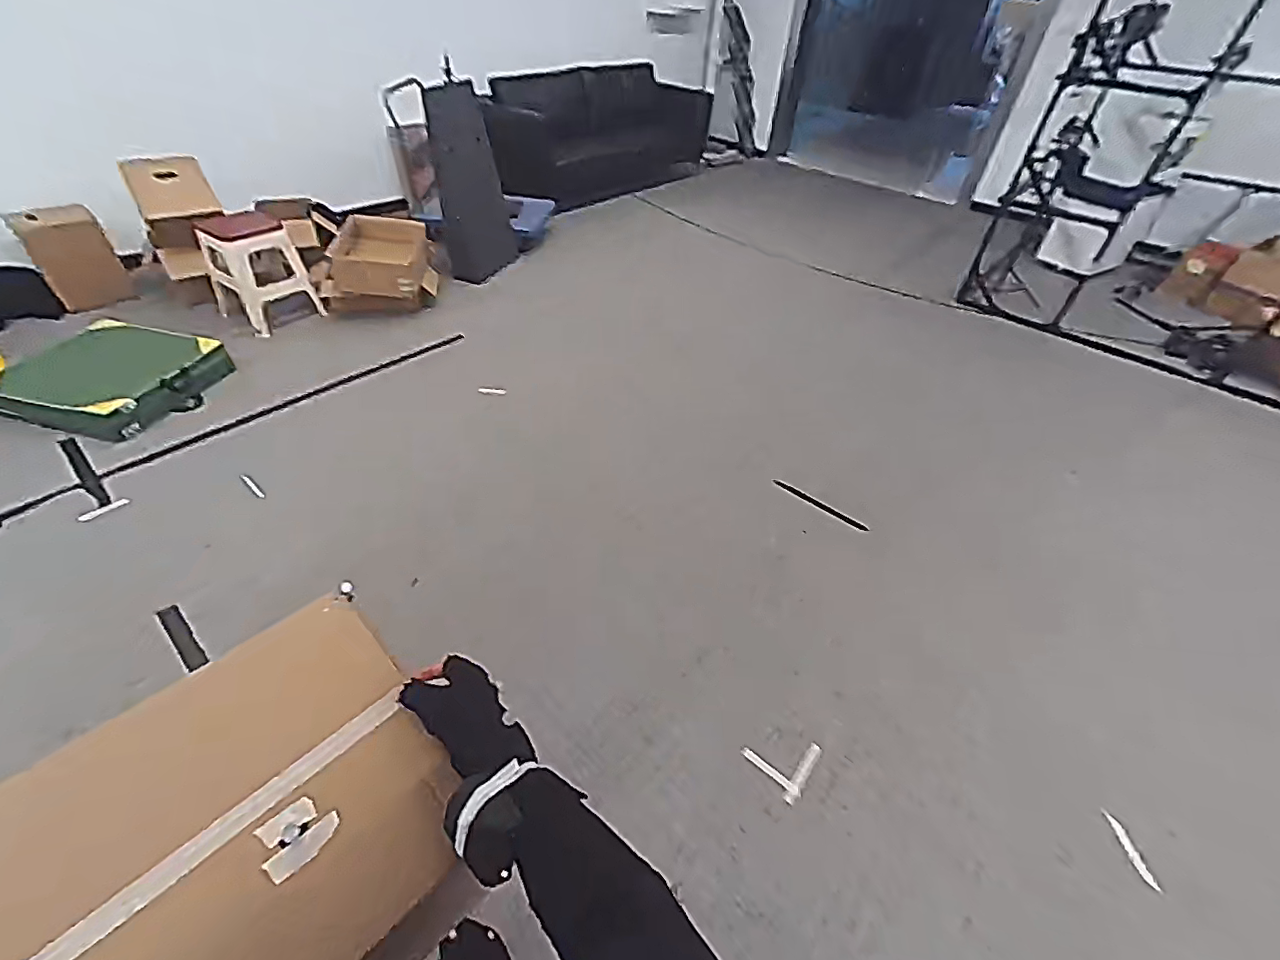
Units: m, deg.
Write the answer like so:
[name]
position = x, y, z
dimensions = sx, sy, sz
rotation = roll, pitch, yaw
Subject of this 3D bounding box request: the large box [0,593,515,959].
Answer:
[large box]
position = -0.389, 0.411, 0.578
dimensions = 0.320, 0.320, 0.408
rotation = 41, 54, 22
